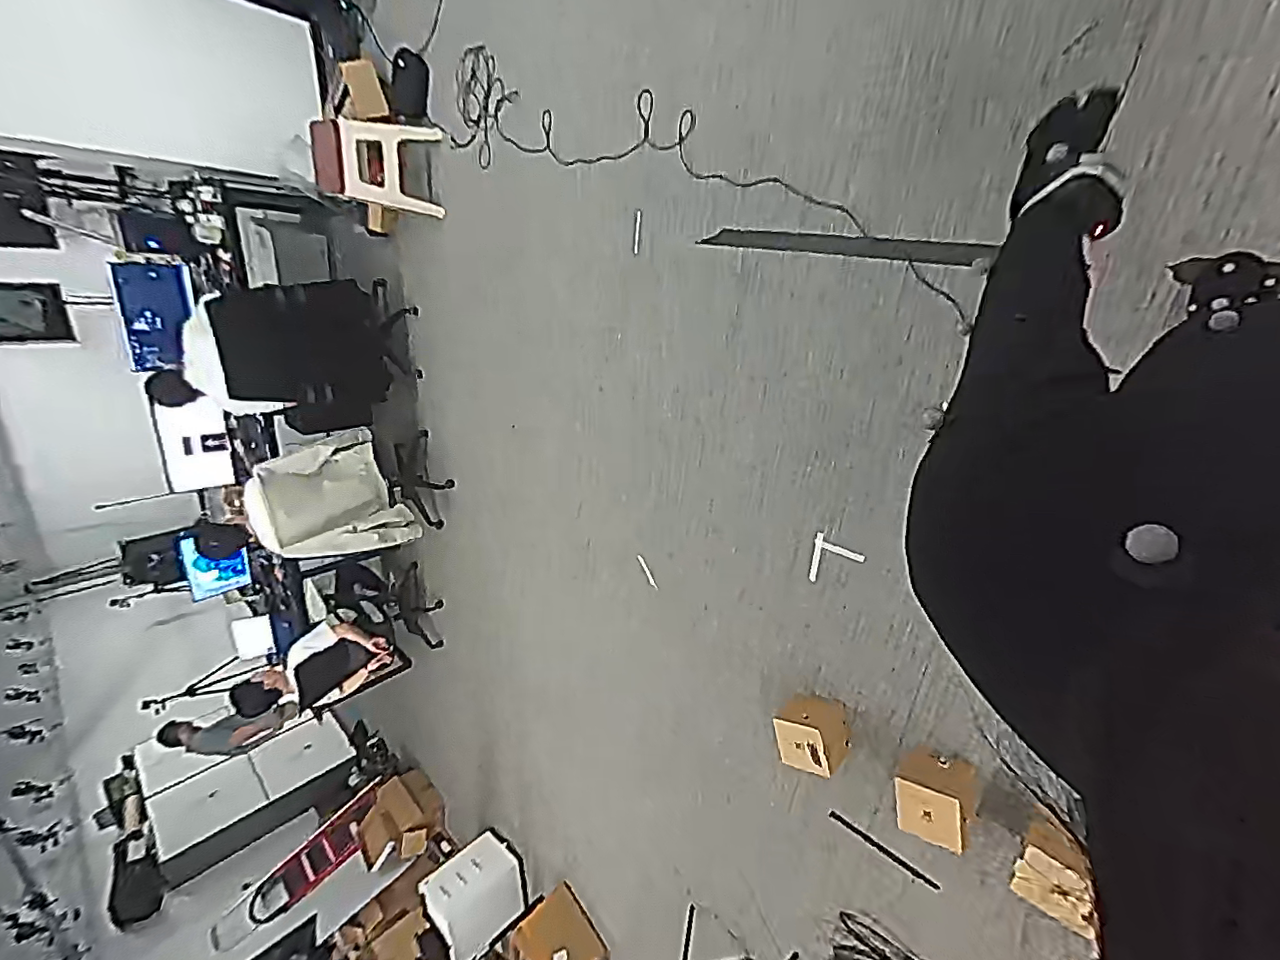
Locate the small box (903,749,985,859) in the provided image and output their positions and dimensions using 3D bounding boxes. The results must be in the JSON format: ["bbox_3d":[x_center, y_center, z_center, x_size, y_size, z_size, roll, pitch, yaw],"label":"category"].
[{"bbox_3d":[0.866,0.908,1.532,0.168,0.176,0.179,0,102,44],"label":"small box"}]

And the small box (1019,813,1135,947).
[{"bbox_3d":[1.082,0.972,1.338,0.179,0.176,0.168,22,118,39],"label":"small box"}]

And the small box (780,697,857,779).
[{"bbox_3d":[0.594,0.840,1.779,0.179,0.176,0.168,-9,96,47],"label":"small box"}]
